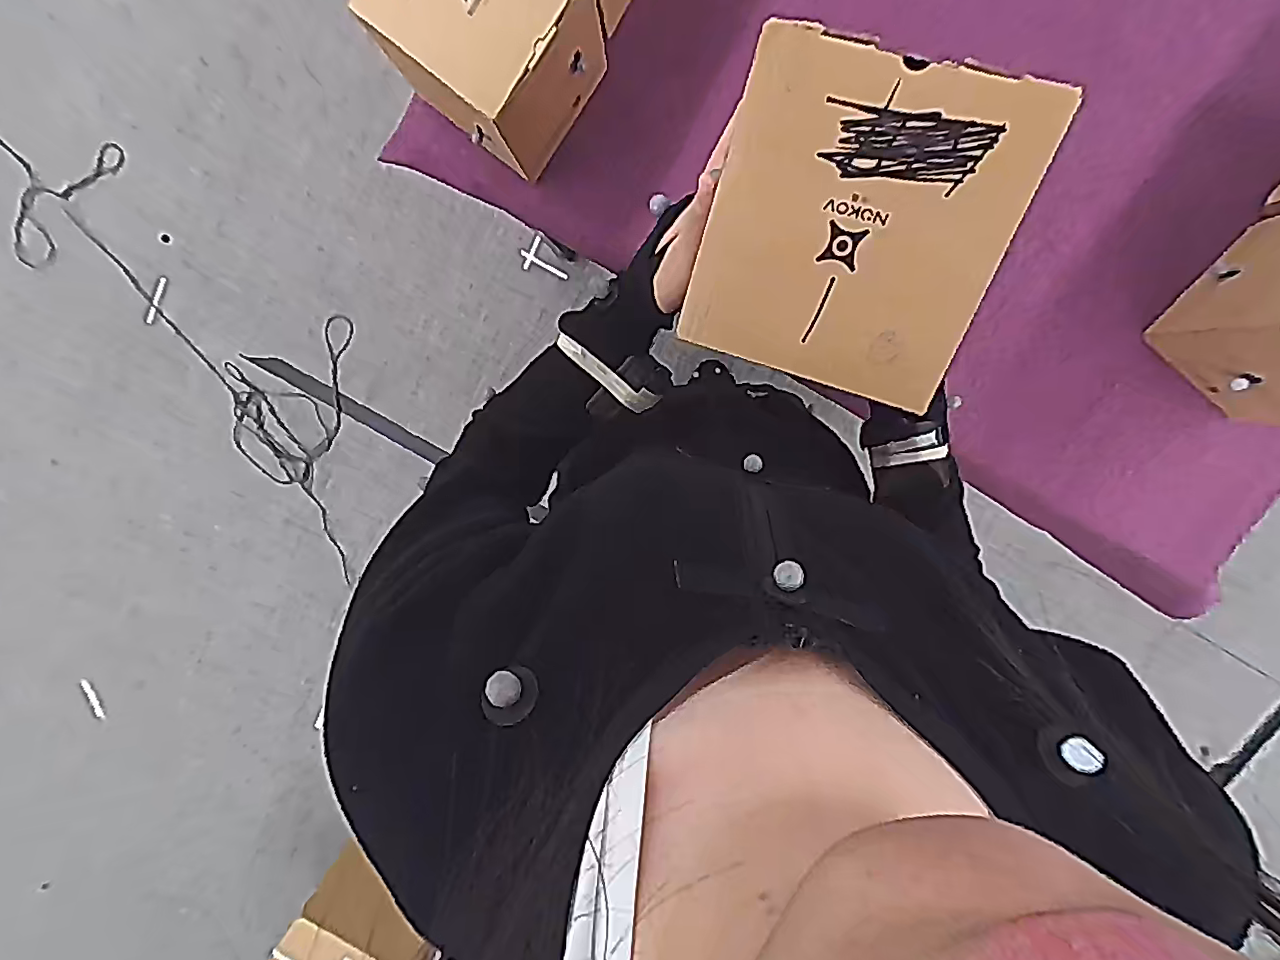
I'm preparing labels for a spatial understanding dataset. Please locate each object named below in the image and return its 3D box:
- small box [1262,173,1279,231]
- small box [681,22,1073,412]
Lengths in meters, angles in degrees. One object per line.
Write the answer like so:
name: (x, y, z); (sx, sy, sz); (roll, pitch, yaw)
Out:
small box: (0.841, -0.336, 0.558); (0.168, 0.176, 0.179); (33, 101, -4)
small box: (0.141, -0.171, 0.388); (0.168, 0.176, 0.179); (19, 113, 7)
